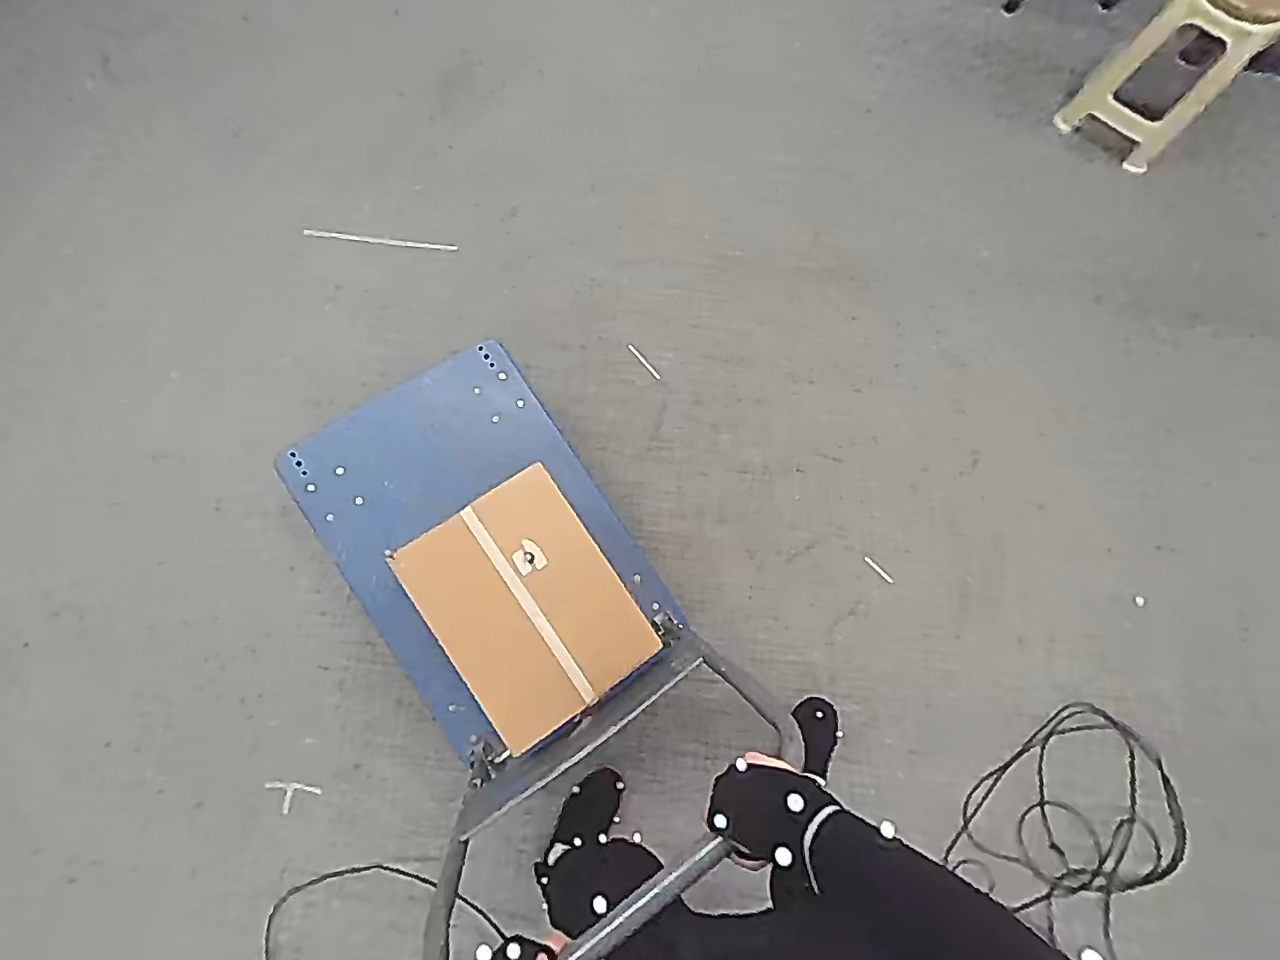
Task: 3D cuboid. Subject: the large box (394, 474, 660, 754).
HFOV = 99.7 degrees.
[{"bbox_3d":[-0.212,0.253,1.111,0.320,0.320,0.408,-35,87,-11],"label":"large box"}]
